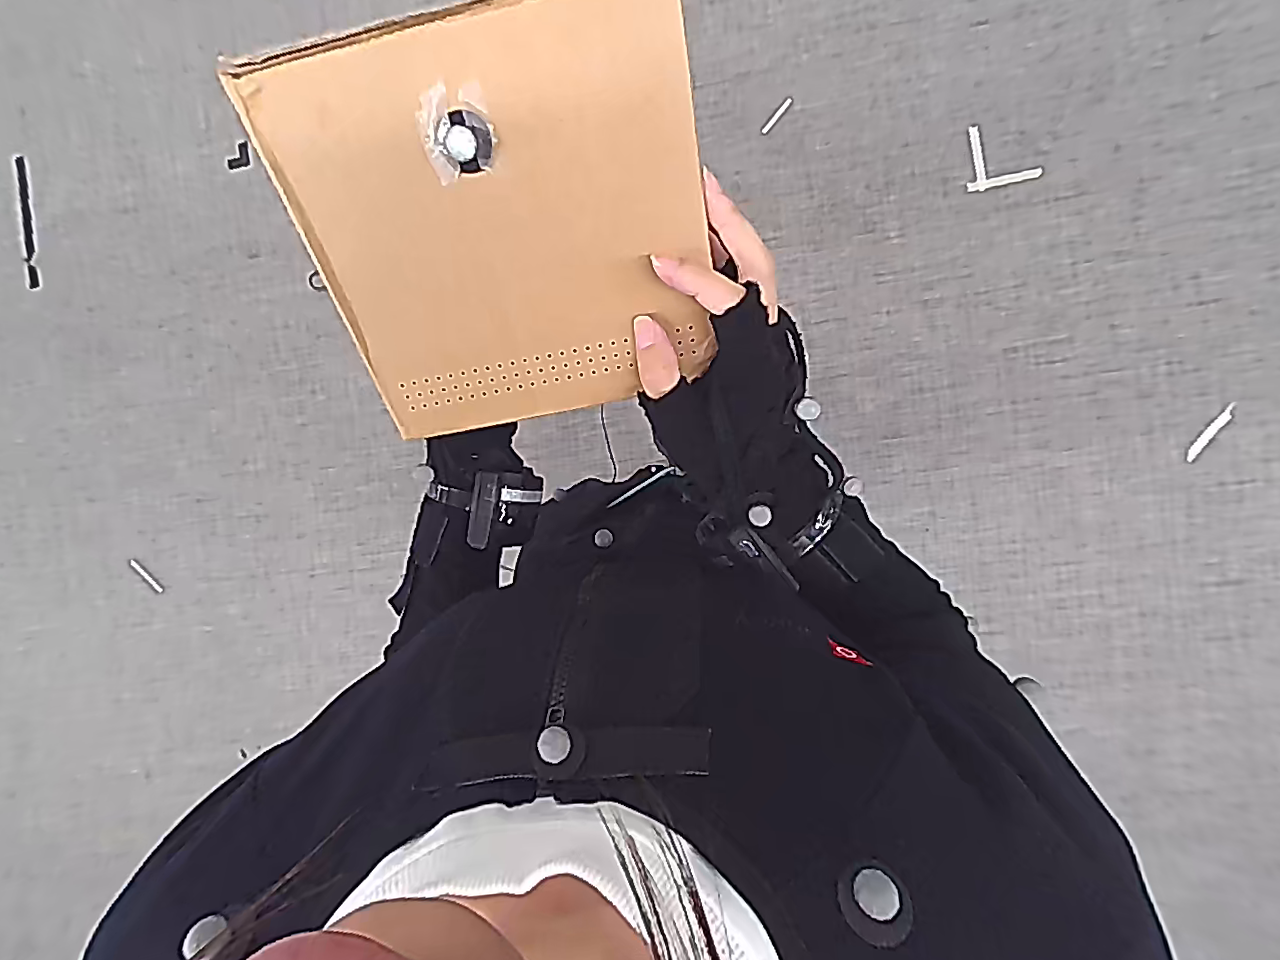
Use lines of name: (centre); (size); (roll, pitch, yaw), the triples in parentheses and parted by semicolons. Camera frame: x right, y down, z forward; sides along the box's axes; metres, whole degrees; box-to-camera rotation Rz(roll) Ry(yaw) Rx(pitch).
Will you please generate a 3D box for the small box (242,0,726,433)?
small box: (-0.056, -0.143, 0.309); (0.179, 0.168, 0.176); (-10, 125, 5)
